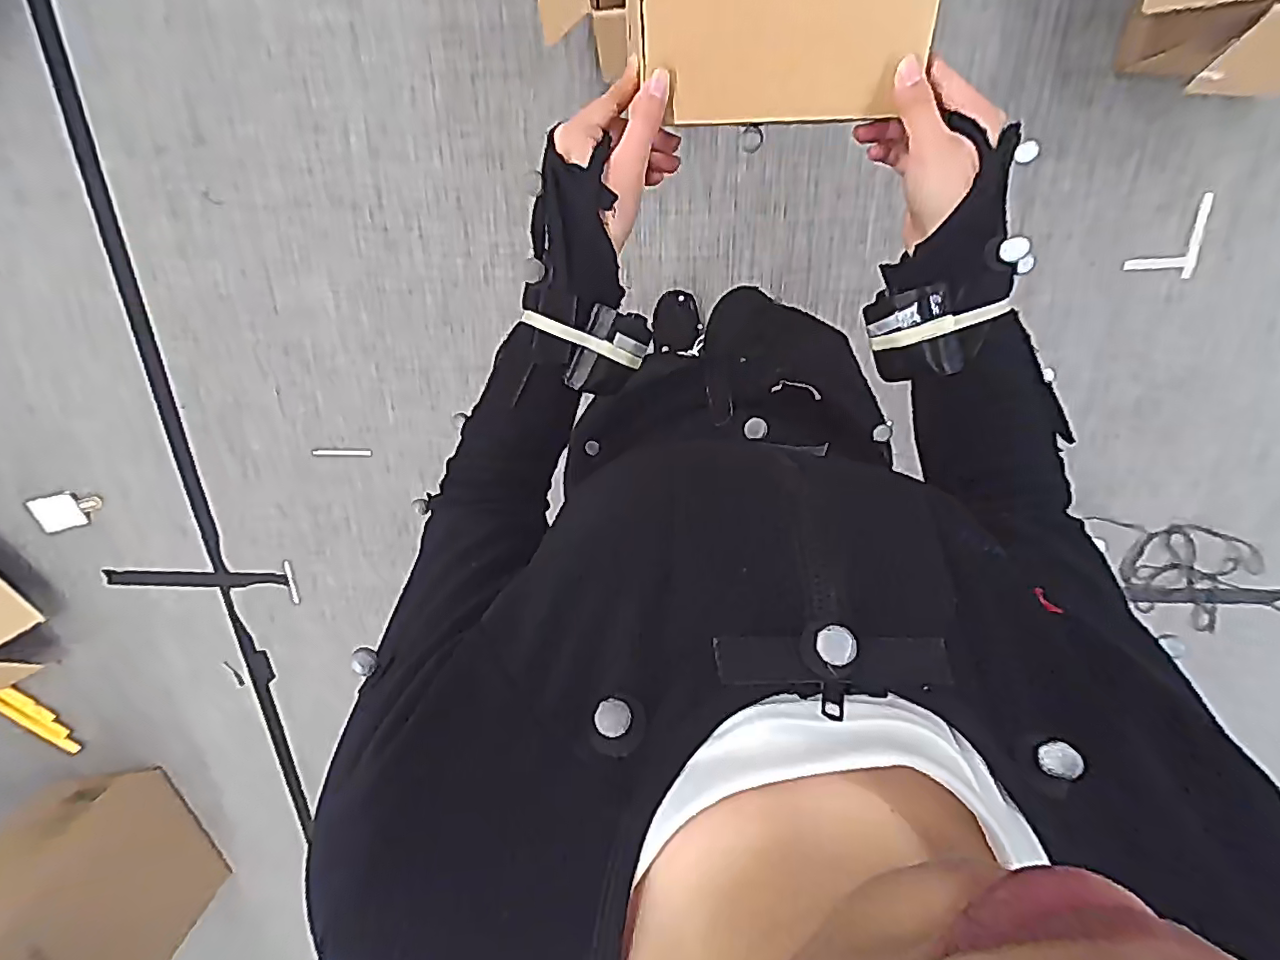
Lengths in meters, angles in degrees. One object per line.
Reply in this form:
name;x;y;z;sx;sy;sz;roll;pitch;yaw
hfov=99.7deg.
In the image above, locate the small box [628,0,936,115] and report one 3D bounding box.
small box;0.081;-0.346;0.361;0.179;0.176;0.168;-2;124;-1
